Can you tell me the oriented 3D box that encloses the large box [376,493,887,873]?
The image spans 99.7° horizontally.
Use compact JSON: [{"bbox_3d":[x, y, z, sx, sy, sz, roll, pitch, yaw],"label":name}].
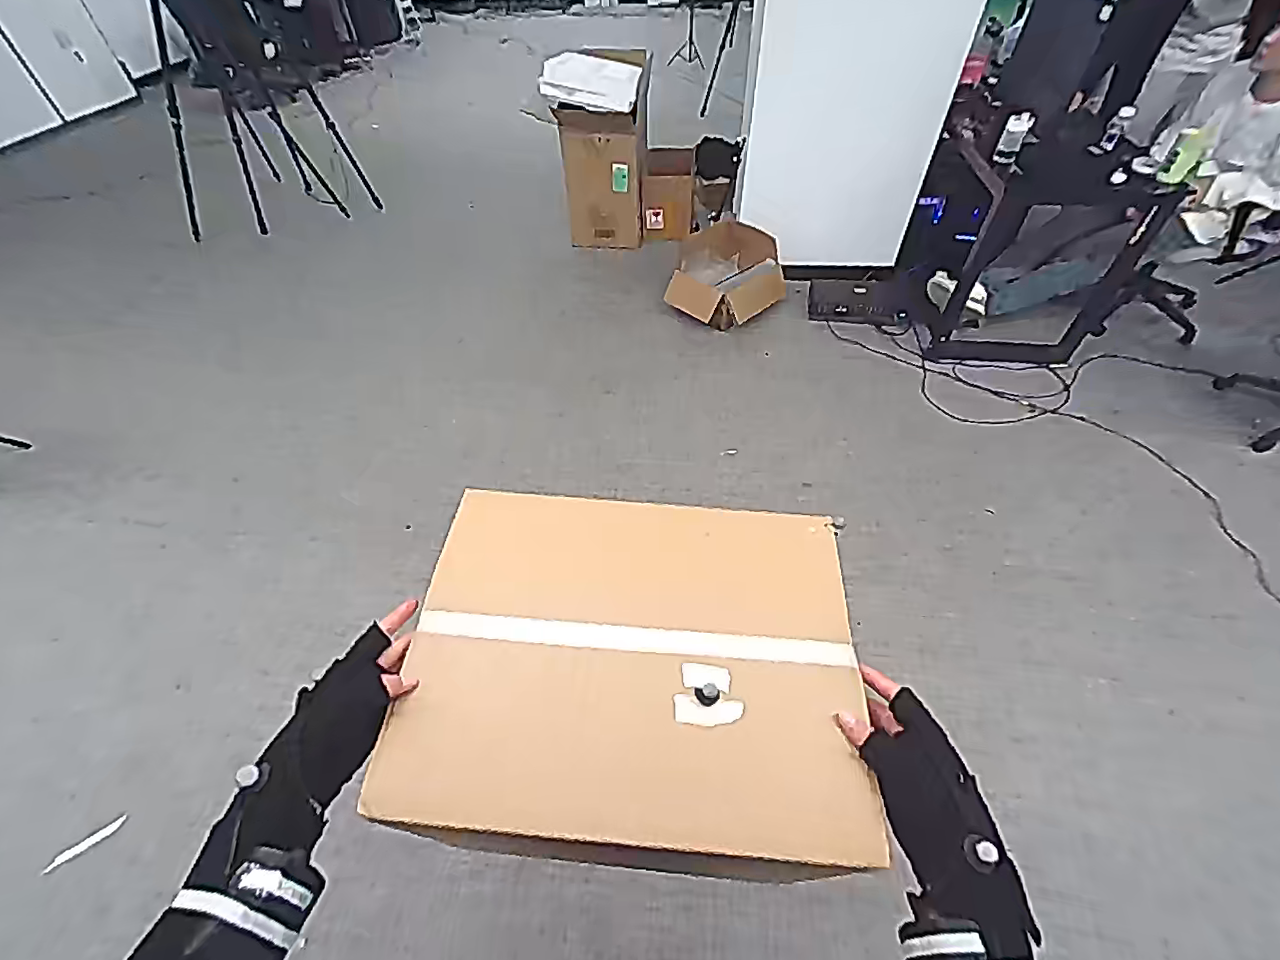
[{"bbox_3d":[-0.005,0.239,0.620,0.408,0.320,0.320,5,52,1],"label":"large box"}]
